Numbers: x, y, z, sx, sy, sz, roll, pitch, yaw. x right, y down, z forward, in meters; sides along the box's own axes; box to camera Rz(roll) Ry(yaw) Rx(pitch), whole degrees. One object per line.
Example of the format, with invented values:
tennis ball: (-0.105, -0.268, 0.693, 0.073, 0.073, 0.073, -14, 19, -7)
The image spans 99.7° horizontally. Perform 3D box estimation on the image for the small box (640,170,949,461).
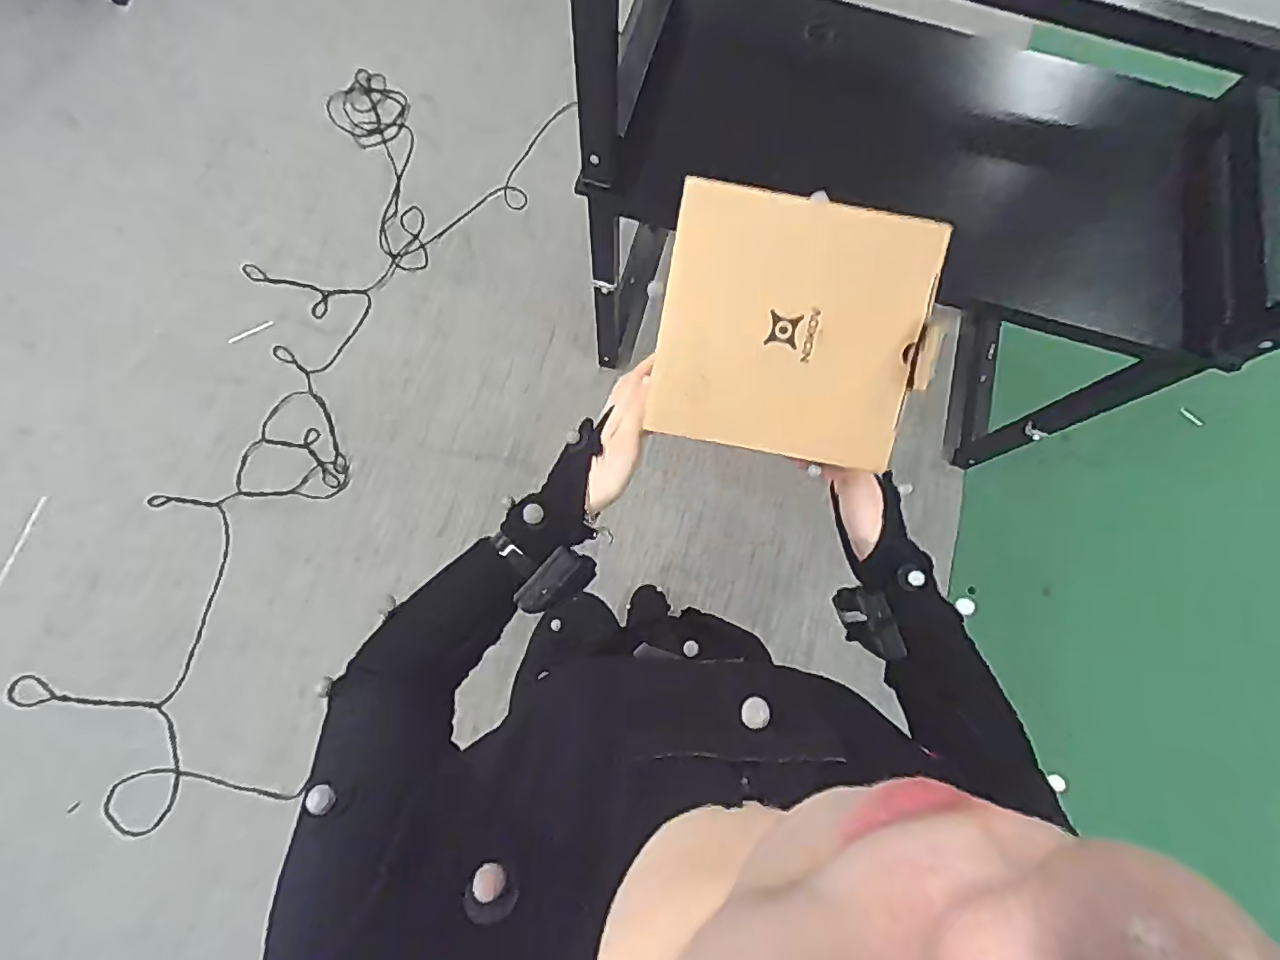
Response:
small box: (0.100, -0.120, 0.436, 0.179, 0.176, 0.168, 9, 101, -1)
